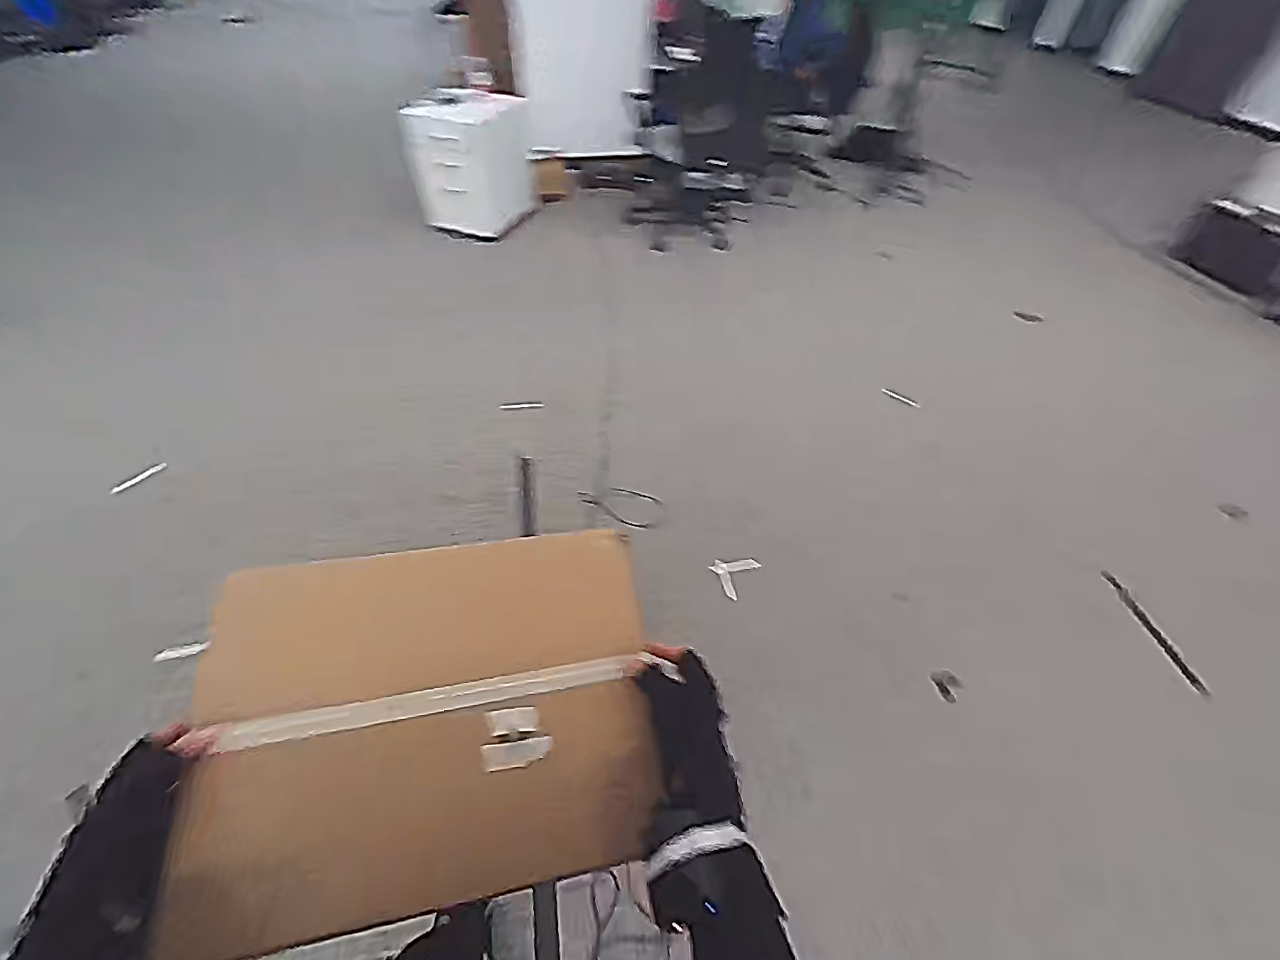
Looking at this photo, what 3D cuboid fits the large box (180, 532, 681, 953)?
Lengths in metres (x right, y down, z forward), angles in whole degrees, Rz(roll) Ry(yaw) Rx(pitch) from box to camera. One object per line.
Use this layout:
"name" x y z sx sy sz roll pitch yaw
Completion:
"large box" -0.204 0.288 0.644 0.408 0.320 0.320 -5 59 -13
